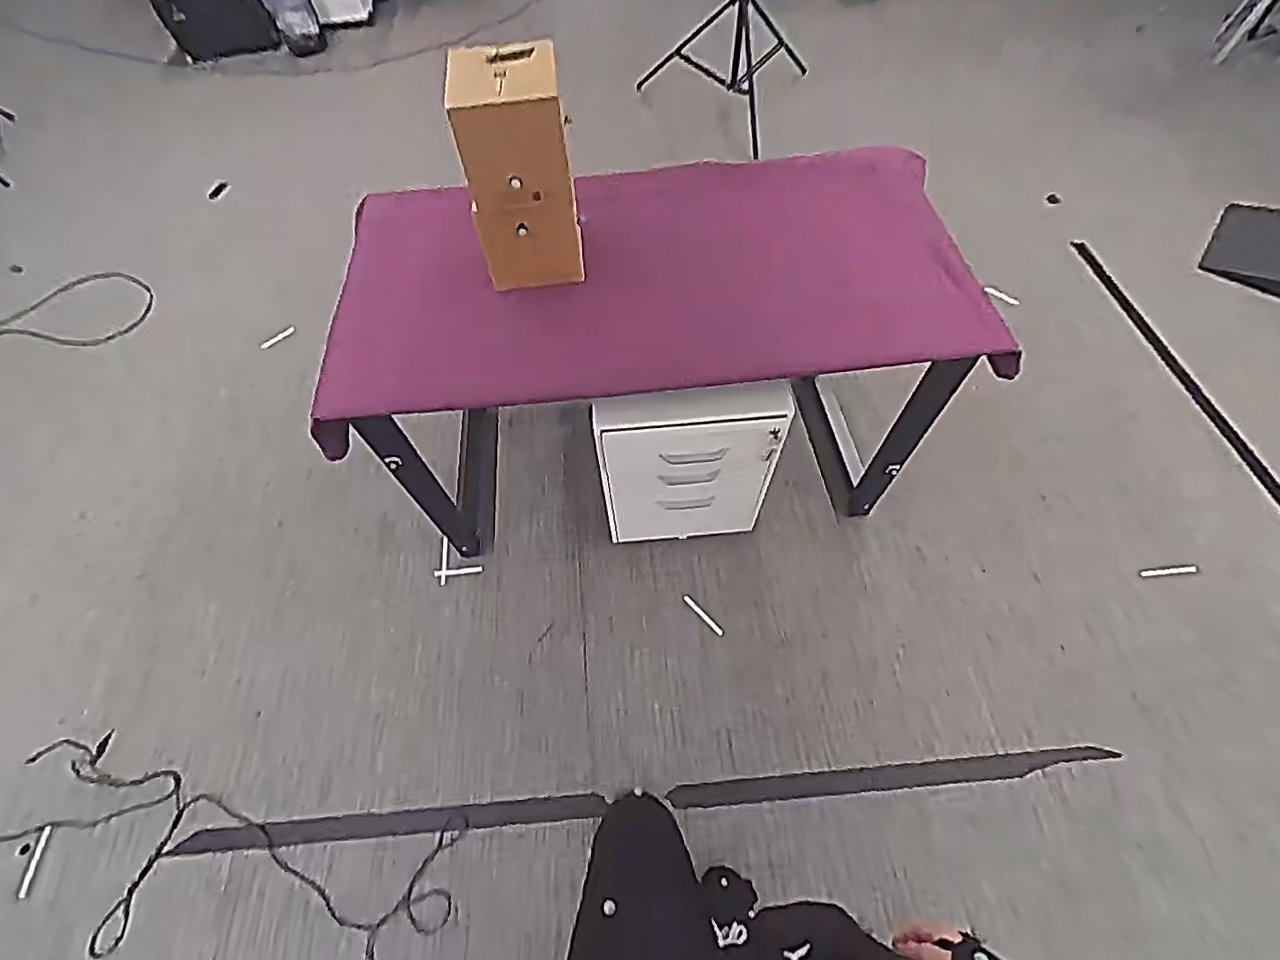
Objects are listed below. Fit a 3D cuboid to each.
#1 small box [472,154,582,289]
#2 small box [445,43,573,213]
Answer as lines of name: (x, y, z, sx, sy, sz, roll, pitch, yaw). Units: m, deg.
small box: (-0.204, -0.486, 1.023, 0.179, 0.176, 0.168, -6, 60, -1)
small box: (-0.204, -0.567, 0.880, 0.168, 0.176, 0.179, -7, 61, -2)
